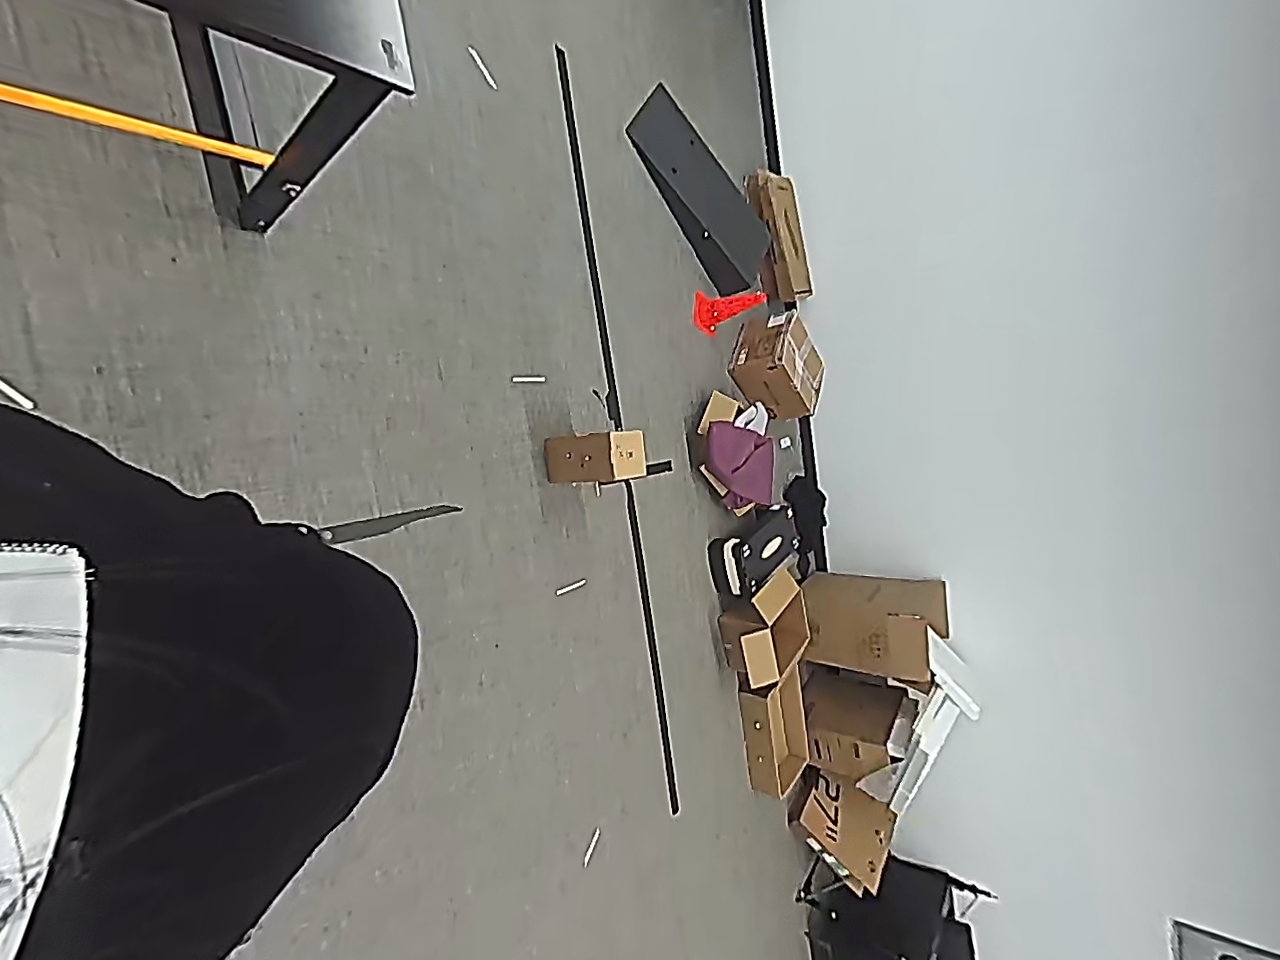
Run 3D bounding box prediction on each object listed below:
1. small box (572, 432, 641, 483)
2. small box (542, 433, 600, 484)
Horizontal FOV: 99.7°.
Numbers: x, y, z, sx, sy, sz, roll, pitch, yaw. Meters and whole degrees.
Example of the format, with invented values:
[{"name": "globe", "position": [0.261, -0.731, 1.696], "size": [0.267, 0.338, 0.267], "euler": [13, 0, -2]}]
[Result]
[{"name": "small box", "position": [-0.120, -0.081, 1.925], "size": [0.179, 0.176, 0.168], "euler": [-9, 94, -50]}, {"name": "small box", "position": [-0.251, -0.080, 2.025], "size": [0.168, 0.176, 0.179], "euler": [-8, 94, -50]}]
